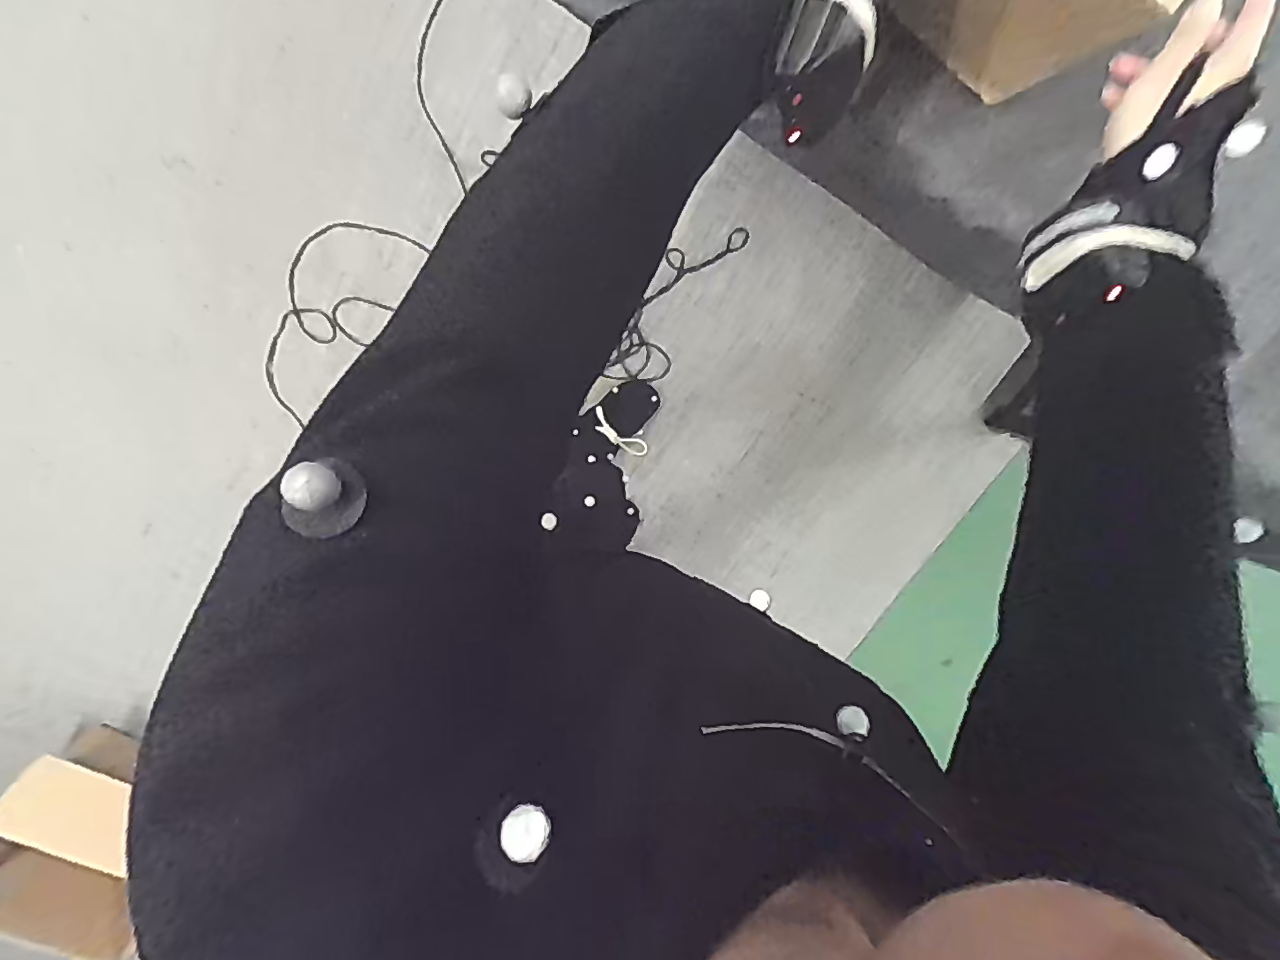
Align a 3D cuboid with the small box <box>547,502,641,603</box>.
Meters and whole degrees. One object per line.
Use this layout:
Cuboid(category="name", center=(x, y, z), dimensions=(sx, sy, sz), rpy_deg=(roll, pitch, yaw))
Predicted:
Cuboid(category="small box", center=(-0.102, 0.160, 1.249), dimensions=(0.176, 0.168, 0.179), rpy_deg=(2, 111, 13))
